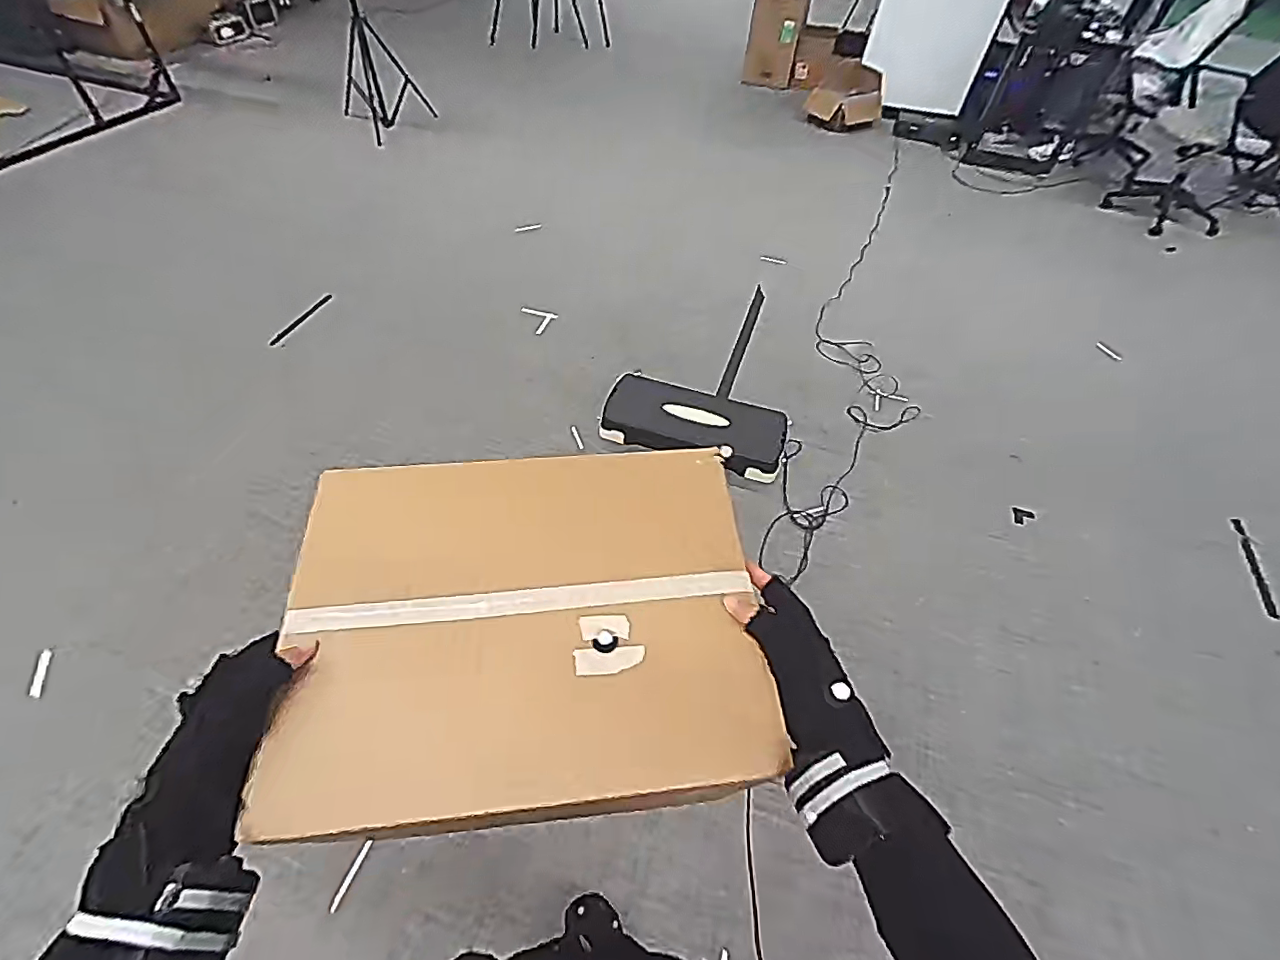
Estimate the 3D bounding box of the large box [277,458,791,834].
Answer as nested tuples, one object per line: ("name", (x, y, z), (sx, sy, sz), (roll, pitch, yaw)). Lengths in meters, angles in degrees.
("large box", (-0.097, 0.197, 0.620), (0.408, 0.320, 0.320), (-3, 57, -6))
